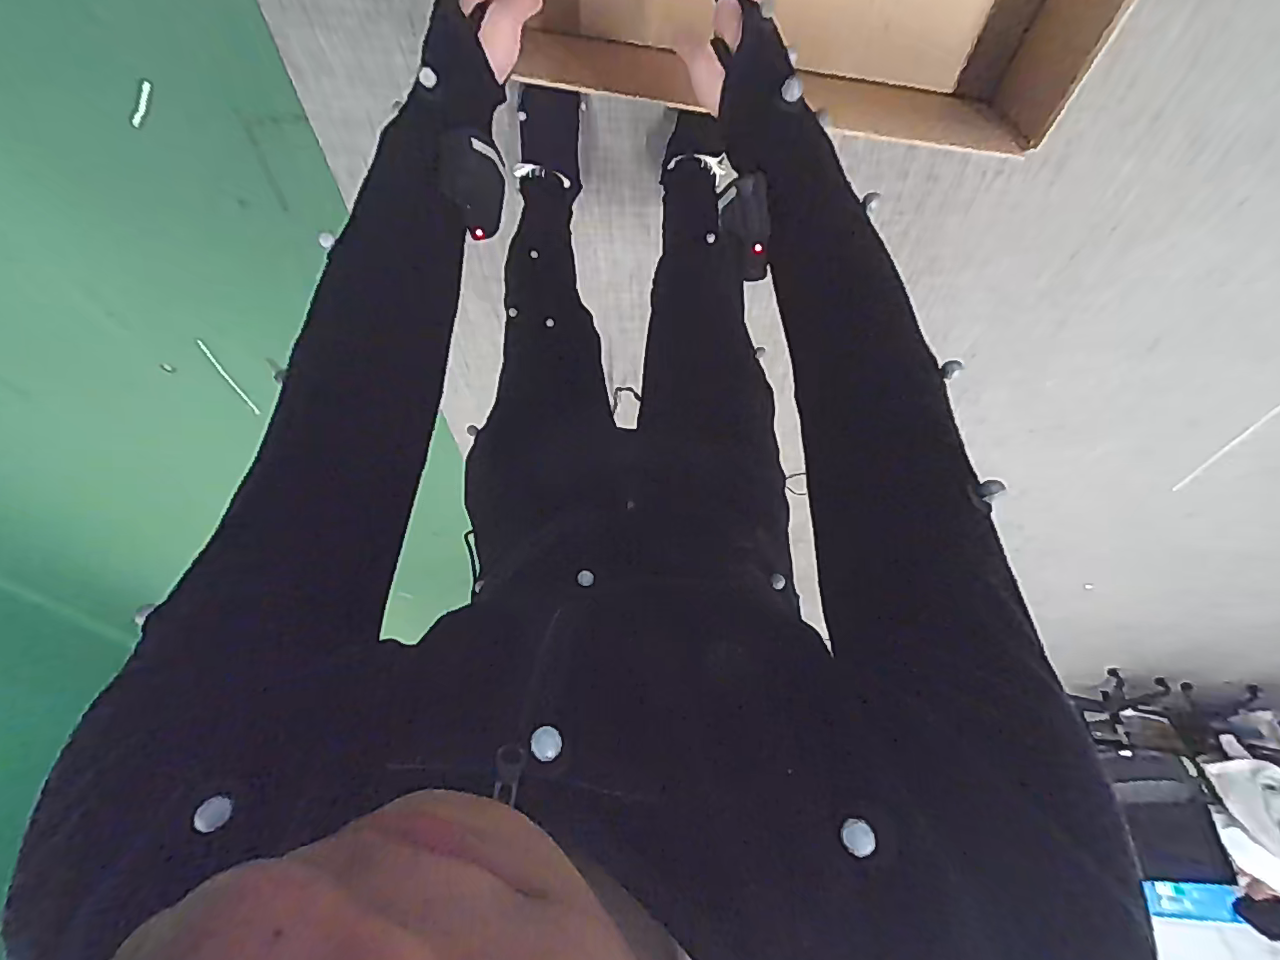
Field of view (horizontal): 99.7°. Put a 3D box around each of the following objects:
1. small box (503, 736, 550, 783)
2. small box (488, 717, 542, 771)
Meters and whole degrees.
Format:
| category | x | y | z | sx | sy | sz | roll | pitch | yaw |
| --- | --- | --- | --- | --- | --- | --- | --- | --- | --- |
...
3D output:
| category | x | y | z | sx | sy | sz | roll | pitch | yaw |
| --- | --- | --- | --- | --- | --- | --- | --- | --- | --- |
| small box | -0.500 | 1.243 | 2.409 | 0.168 | 0.176 | 0.179 | -1 | 143 | 1 |
| small box | -0.492 | 1.055 | 2.154 | 0.168 | 0.176 | 0.179 | 2 | 146 | 0 |
